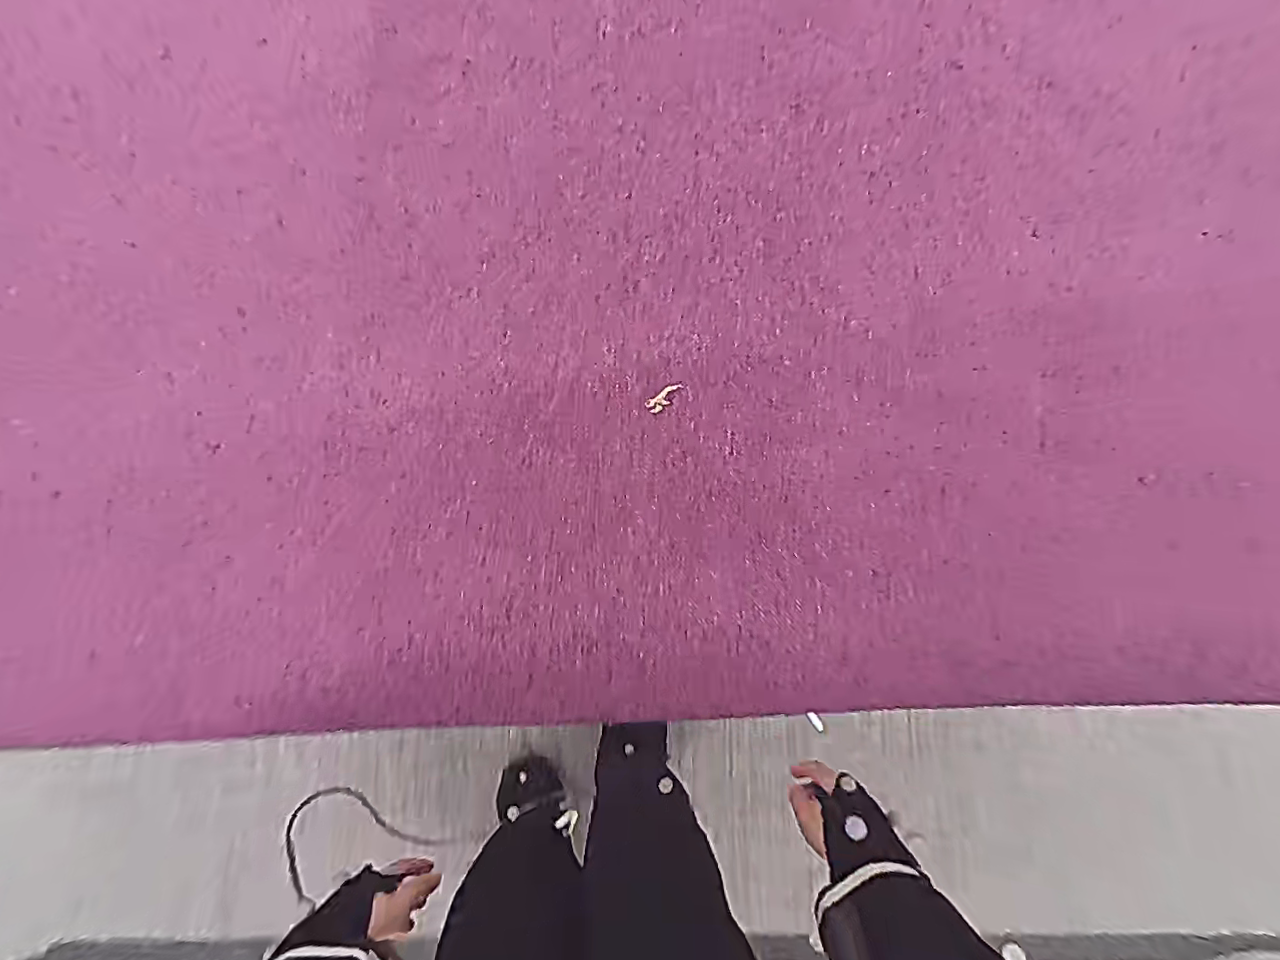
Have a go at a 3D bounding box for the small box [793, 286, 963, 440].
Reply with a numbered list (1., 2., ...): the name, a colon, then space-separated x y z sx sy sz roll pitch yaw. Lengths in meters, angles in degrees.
1. small box: 0.318 -0.153 0.755 0.168 0.176 0.179 -1 88 0

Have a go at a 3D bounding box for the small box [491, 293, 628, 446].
1. small box: -0.102 -0.143 0.750 0.168 0.176 0.179 0 89 0
